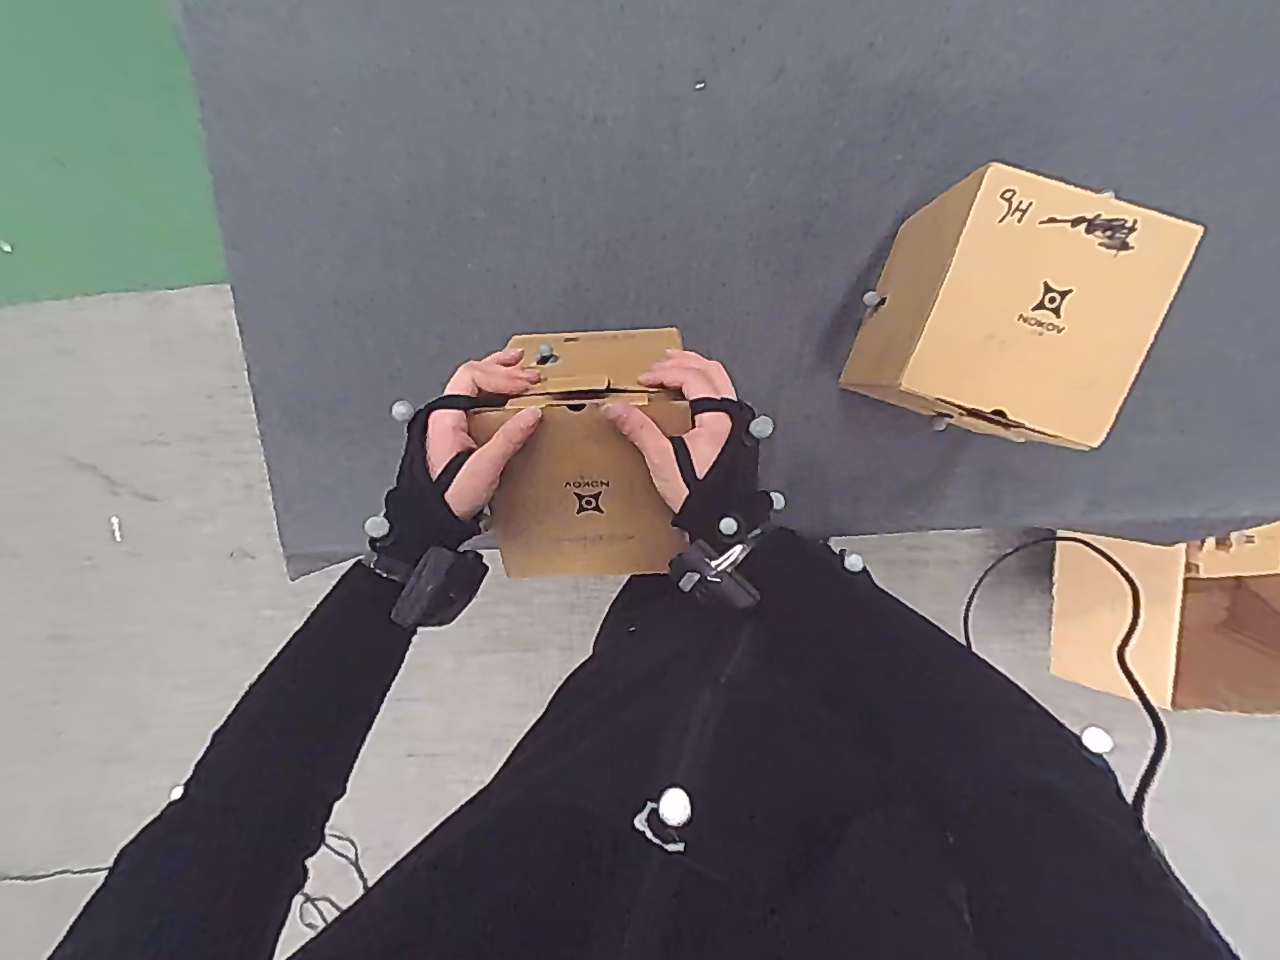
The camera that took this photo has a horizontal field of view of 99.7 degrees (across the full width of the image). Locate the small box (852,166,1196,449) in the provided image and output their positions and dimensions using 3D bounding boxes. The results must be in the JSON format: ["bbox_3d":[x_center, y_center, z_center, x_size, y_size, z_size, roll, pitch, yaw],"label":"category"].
[{"bbox_3d":[0.316,-0.144,0.497,0.168,0.176,0.179,18,102,1],"label":"small box"}]

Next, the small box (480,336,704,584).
[{"bbox_3d":[-0.034,-0.027,0.498,0.168,0.176,0.179,-2,122,1],"label":"small box"}]
